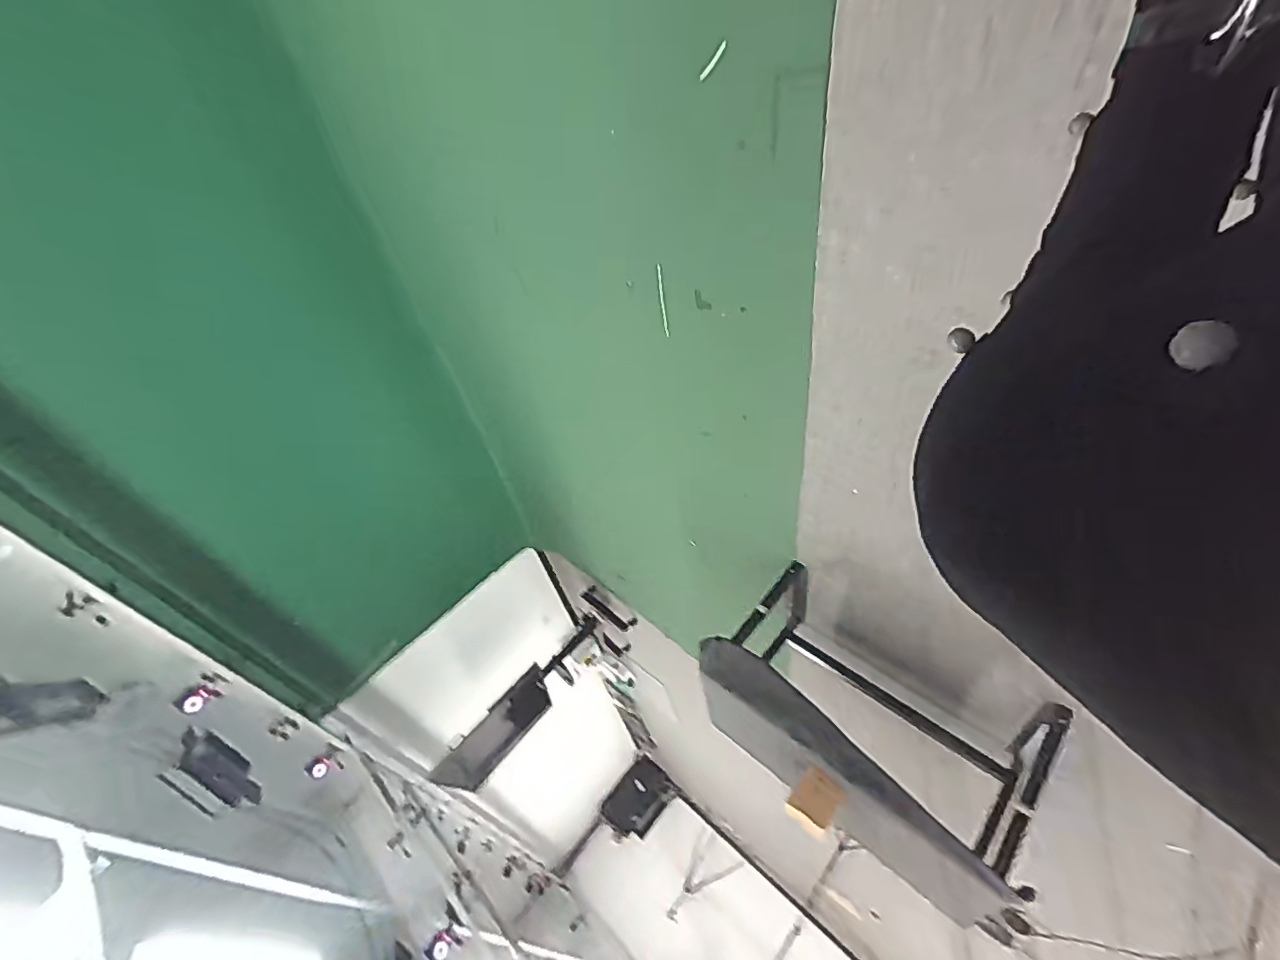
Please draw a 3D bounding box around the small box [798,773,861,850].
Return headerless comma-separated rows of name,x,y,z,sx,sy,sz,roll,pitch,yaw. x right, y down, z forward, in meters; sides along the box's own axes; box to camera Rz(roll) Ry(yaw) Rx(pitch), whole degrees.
small box,0.726,1.263,2.068,0.168,0.176,0.179,29,149,36
